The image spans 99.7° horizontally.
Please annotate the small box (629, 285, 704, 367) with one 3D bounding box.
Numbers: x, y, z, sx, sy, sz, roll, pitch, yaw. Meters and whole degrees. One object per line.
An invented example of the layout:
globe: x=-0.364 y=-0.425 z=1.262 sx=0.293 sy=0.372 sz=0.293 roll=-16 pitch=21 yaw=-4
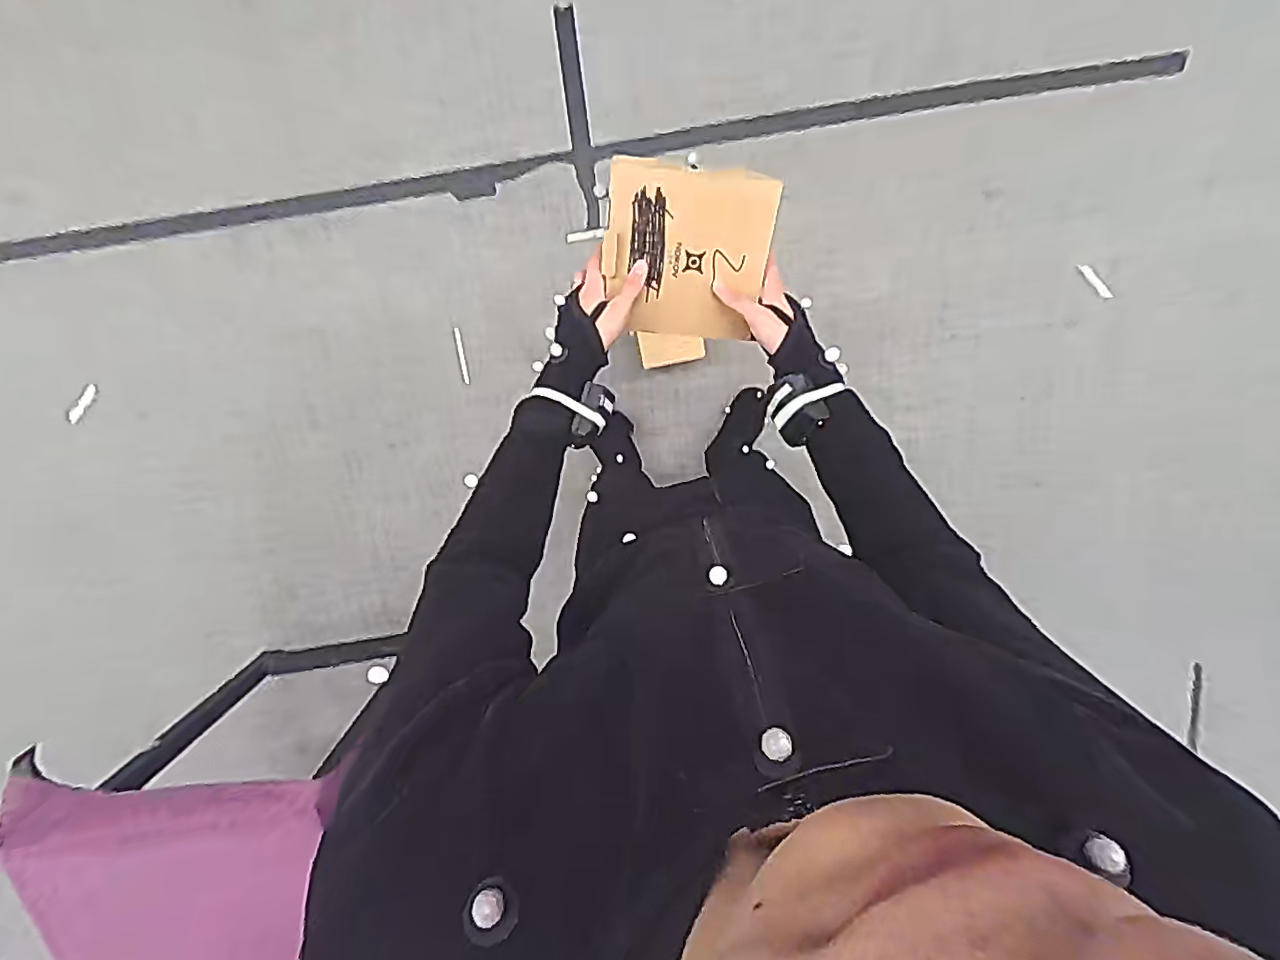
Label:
small box: x=0.068 y=-0.409 z=1.446 sx=0.168 sy=0.176 sz=0.179 roll=-12 pitch=103 yaw=1
